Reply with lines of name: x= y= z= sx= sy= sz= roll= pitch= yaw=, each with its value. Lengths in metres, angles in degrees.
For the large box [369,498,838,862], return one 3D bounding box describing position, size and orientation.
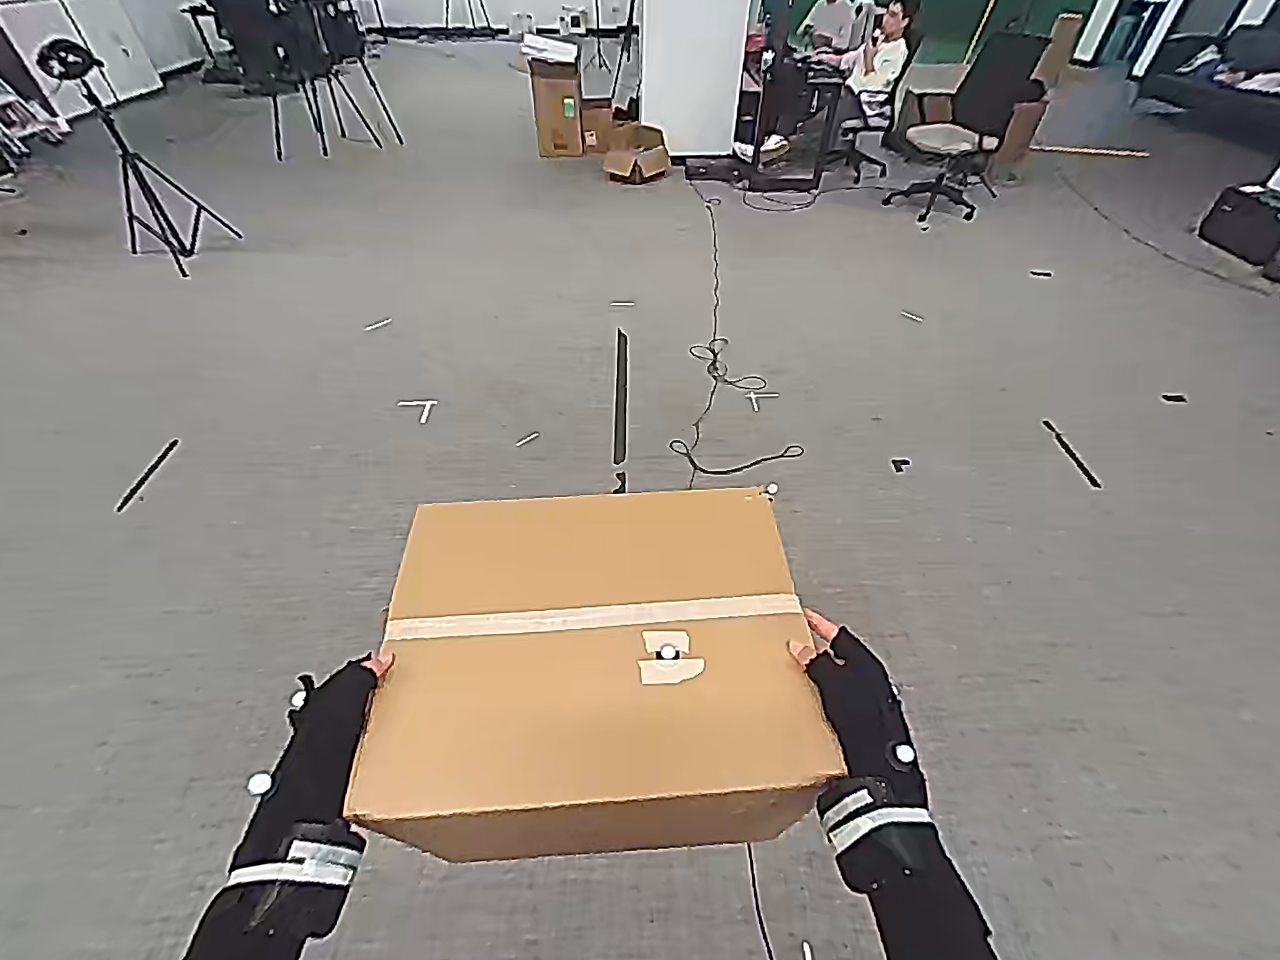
large box: x=-0.040 y=0.244 z=0.658 sx=0.408 sy=0.320 sz=0.320 roll=-2 pitch=50 yaw=-3
